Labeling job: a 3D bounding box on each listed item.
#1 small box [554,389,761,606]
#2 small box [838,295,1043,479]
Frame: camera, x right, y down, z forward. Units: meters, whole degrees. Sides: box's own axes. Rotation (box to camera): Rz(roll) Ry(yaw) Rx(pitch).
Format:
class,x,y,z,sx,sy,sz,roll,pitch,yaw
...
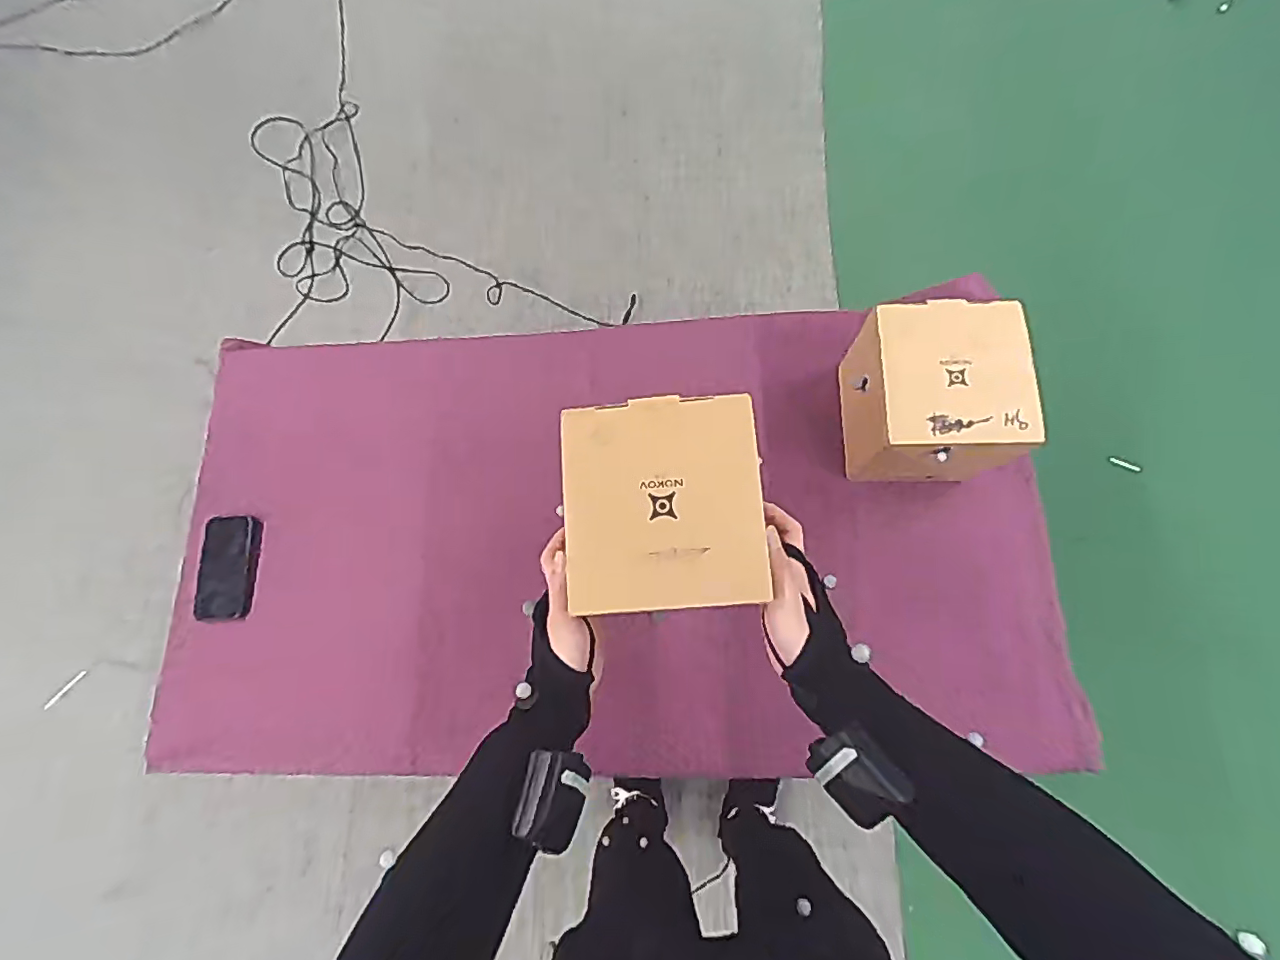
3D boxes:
class,x,y,z,sx,sy,sz,roll,pitch,yaw
small box,0.017,0.027,0.524,0.168,0.176,0.179,-5,80,5
small box,0.358,-0.108,0.683,0.168,0.176,0.179,-1,75,6
